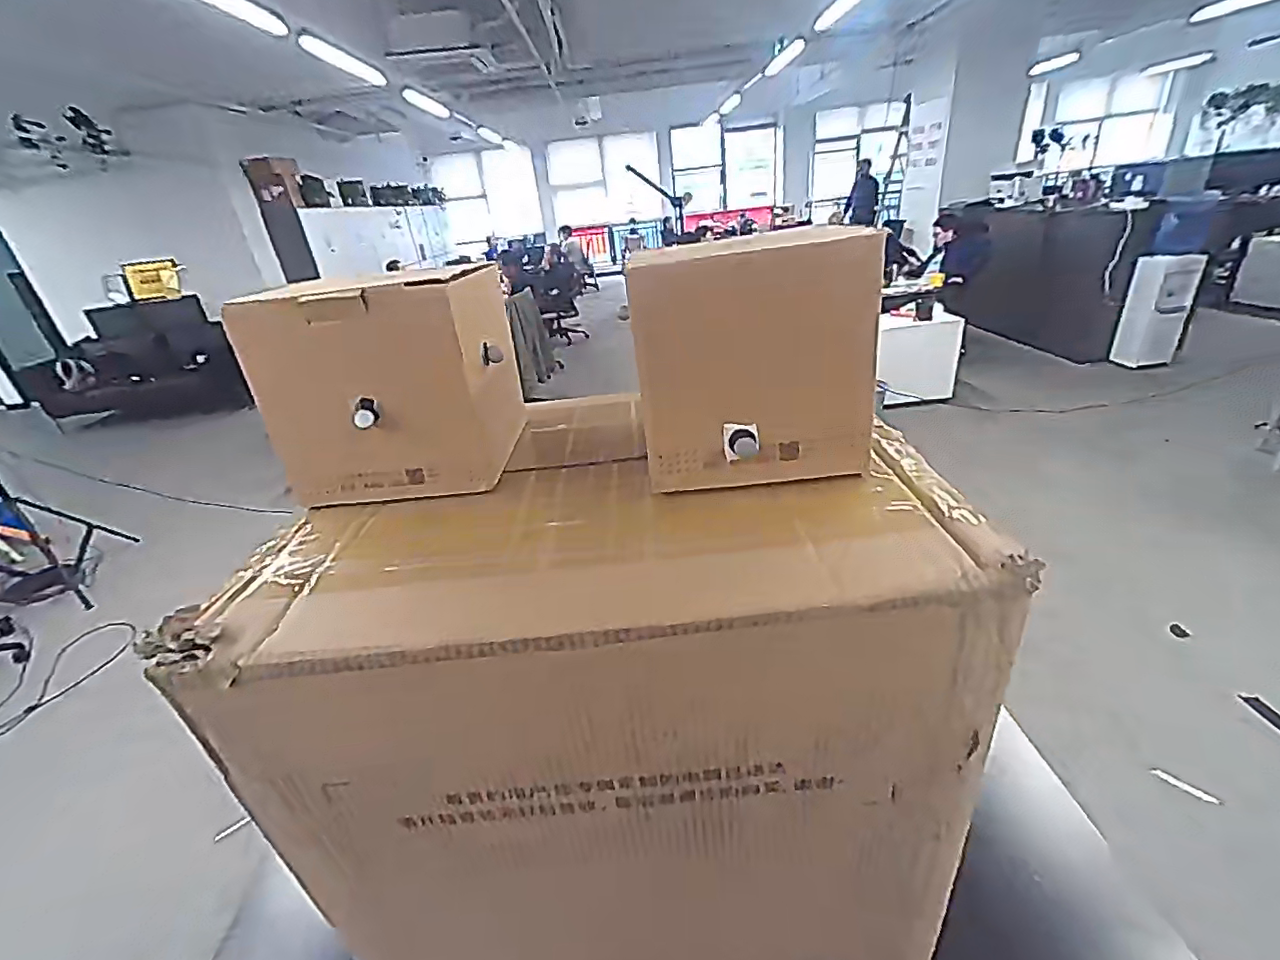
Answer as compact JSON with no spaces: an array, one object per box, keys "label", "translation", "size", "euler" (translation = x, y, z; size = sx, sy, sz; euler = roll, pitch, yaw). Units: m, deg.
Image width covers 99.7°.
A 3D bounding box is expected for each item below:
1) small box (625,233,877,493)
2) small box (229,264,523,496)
[{"label":"small box","translation":[0.081,-0.105,0.458],"size":[0.168,0.176,0.179],"euler":[-7,26,3]},{"label":"small box","translation":[-0.213,-0.093,0.498],"size":[0.168,0.176,0.179],"euler":[-5,27,0]}]
